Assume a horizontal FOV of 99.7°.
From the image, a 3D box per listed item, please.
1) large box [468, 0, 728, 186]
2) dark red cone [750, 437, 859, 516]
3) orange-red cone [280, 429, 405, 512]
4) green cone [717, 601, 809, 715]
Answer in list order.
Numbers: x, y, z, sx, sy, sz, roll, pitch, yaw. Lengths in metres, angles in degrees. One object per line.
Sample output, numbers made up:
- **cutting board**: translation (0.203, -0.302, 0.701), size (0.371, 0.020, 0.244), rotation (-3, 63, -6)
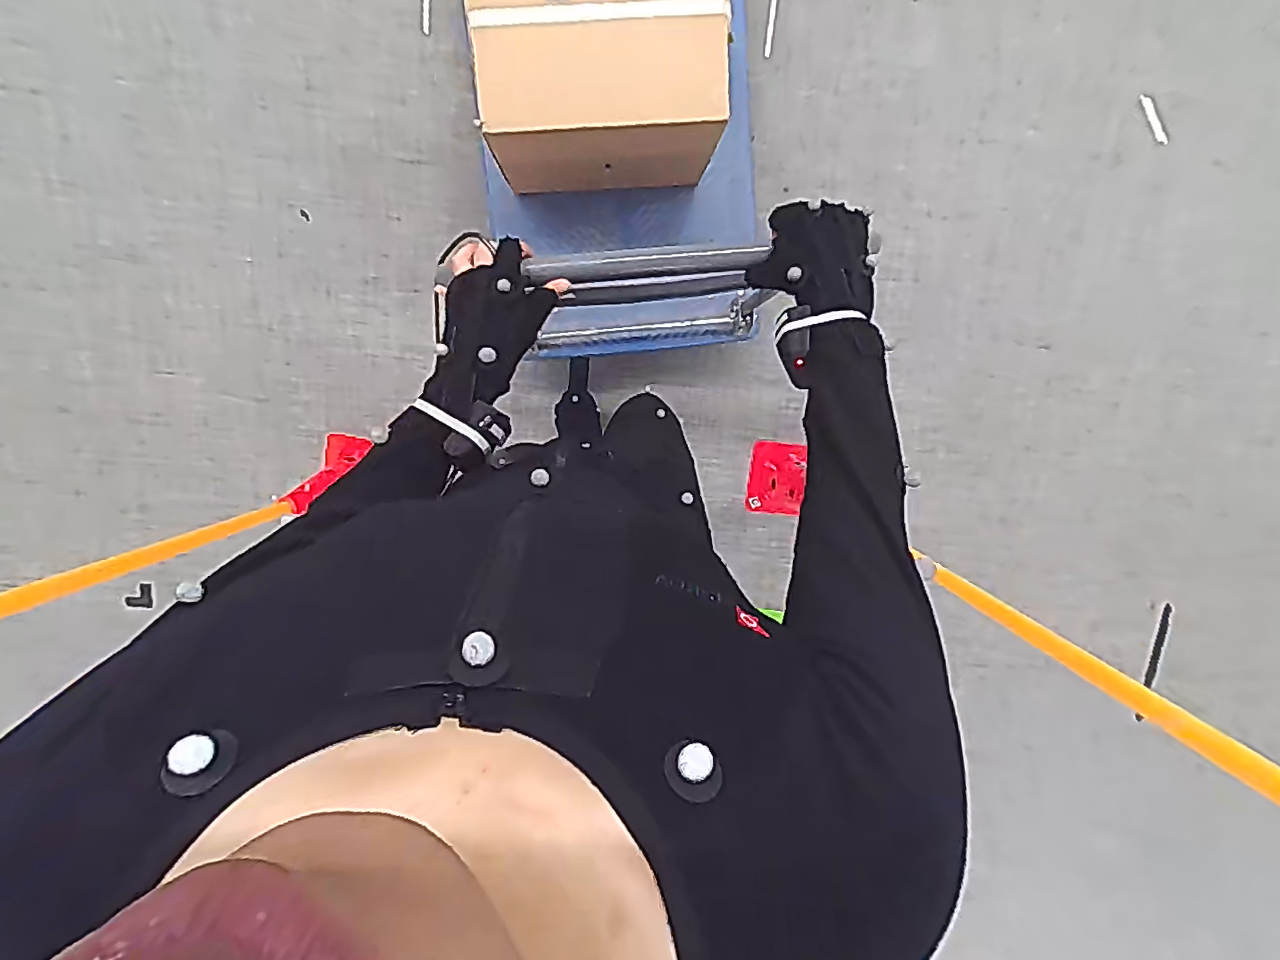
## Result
- **large box**: translation (-0.071, -0.761, 0.991), size (0.408, 0.320, 0.320), rotation (-5, 102, -2)
- **dark red cone**: translation (0.416, 0.020, 1.303), size (0.201, 0.394, 0.202), rotation (4, 101, -6)
- **orange-red cone**: translation (-0.718, 0.008, 1.254), size (0.198, 0.360, 0.199), rotation (12, 99, -7)
- **green cone**: translation (0.348, 0.489, 1.410), size (0.202, 0.368, 0.200), rotation (8, 101, -6)
